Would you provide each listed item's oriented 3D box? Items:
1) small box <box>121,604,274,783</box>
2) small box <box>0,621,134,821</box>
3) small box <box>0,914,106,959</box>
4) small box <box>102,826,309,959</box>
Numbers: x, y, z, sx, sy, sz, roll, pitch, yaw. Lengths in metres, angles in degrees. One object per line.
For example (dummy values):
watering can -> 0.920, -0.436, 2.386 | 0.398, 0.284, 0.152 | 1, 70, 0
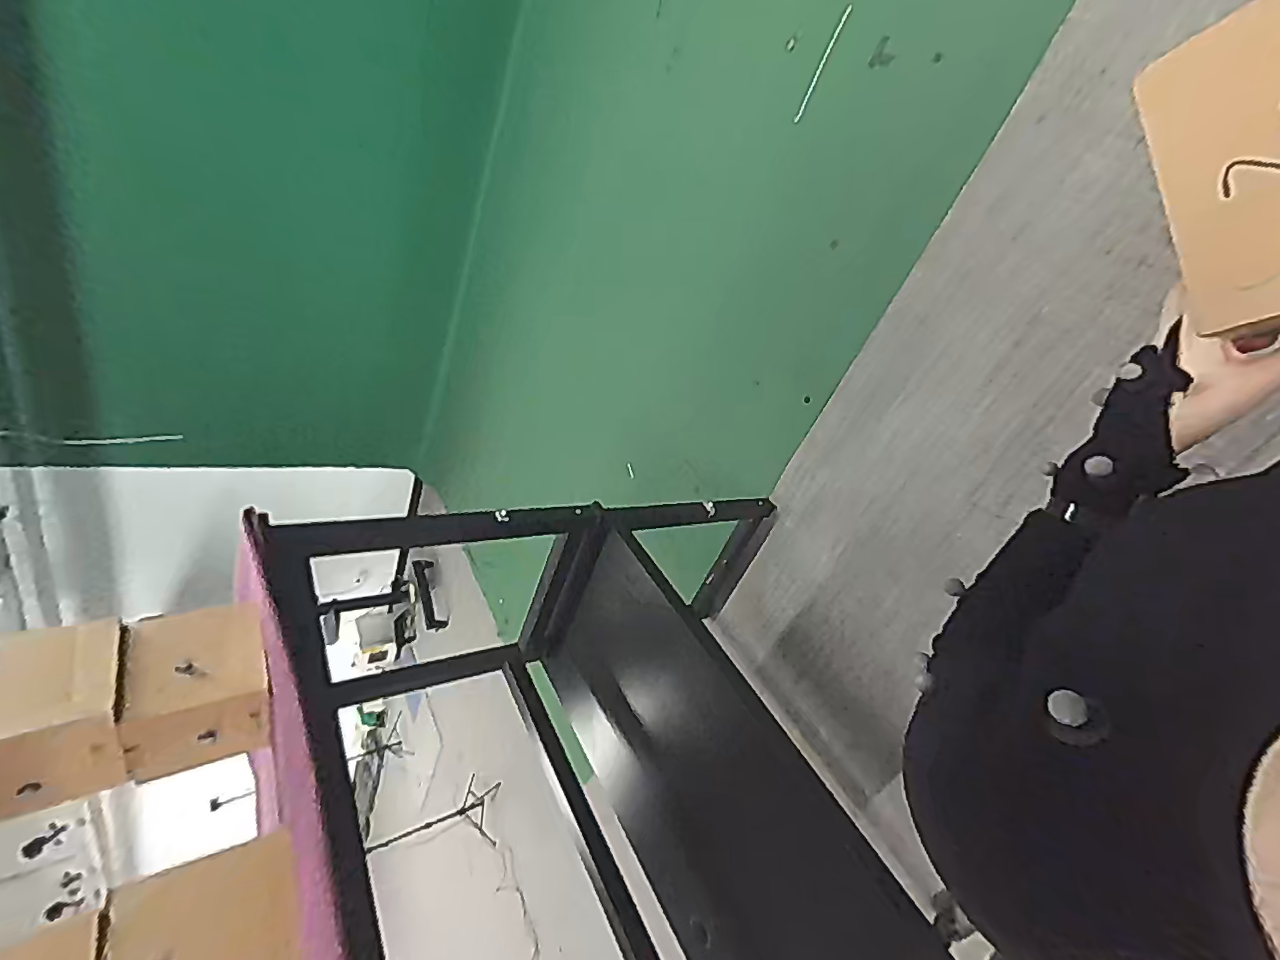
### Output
small box -> -0.680, 0.320, 0.843 | 0.179, 0.176, 0.168 | 49, 129, 36
small box -> -0.803, 0.319, 0.735 | 0.179, 0.176, 0.168 | 49, 129, 37
small box -> -0.603, 0.545, 0.501 | 0.168, 0.176, 0.179 | -56, 52, 36
small box -> -0.480, 0.540, 0.606 | 0.179, 0.176, 0.168 | 51, 128, 38
